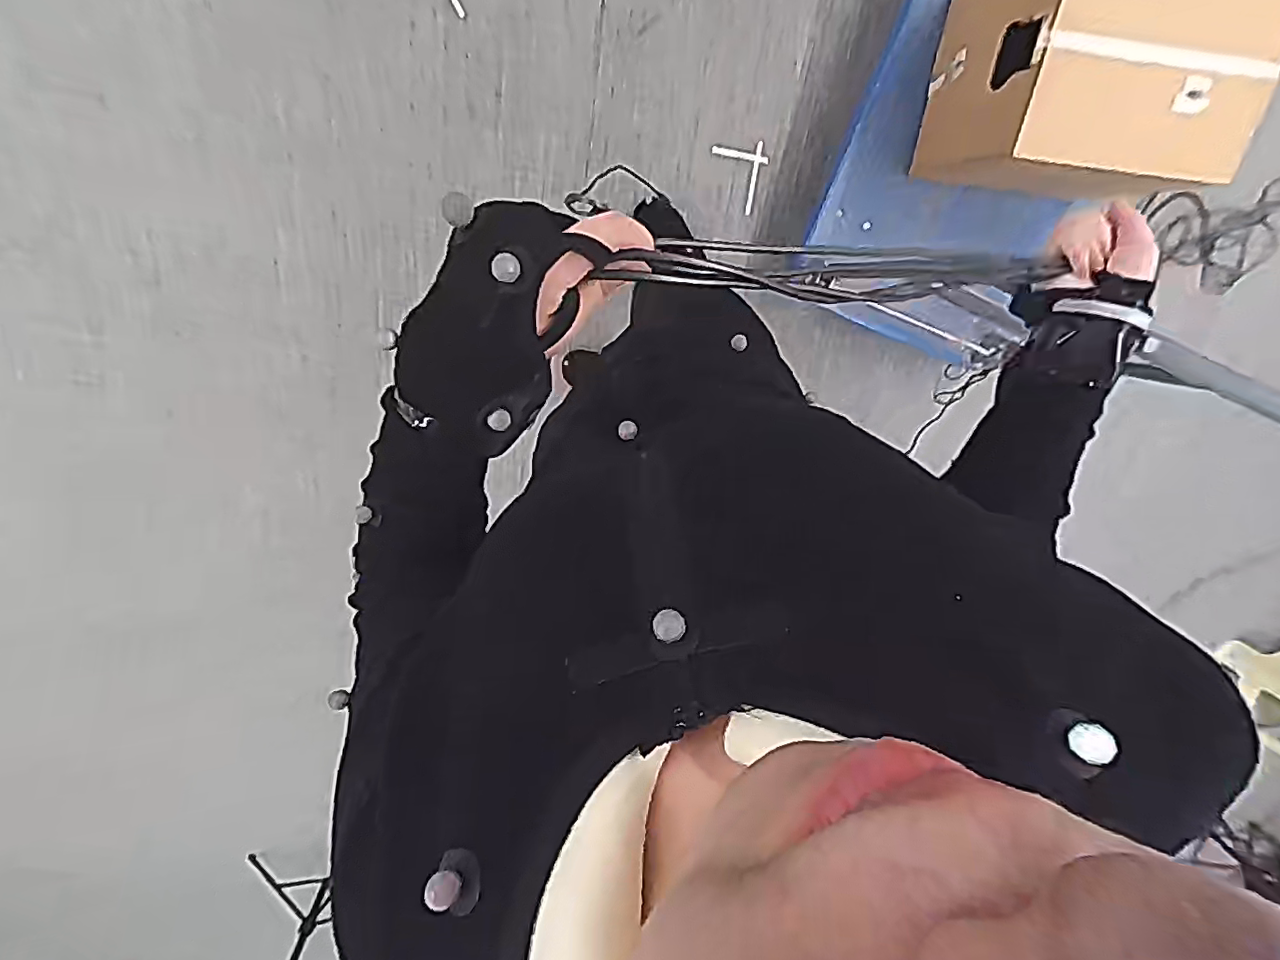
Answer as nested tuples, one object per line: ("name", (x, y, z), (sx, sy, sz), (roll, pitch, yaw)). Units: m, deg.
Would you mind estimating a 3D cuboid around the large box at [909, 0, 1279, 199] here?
("large box", (0.779, -0.704, 0.966), (0.408, 0.320, 0.320), (2, 113, -8))
